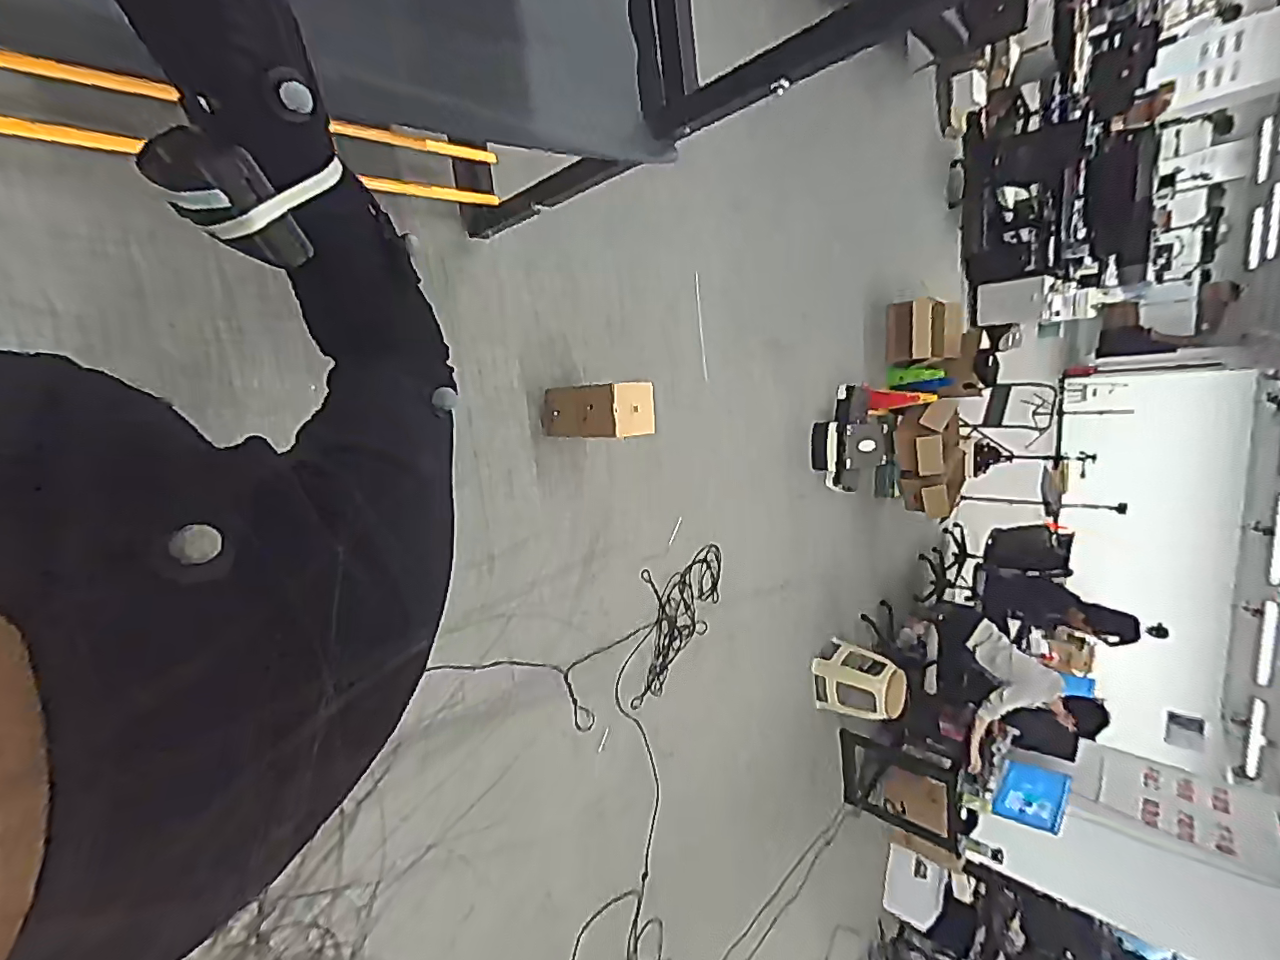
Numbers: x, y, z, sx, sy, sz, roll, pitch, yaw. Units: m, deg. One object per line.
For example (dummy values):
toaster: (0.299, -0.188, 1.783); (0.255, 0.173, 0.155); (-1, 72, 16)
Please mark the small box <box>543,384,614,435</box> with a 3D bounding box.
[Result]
small box: (-0.210, -0.241, 1.846); (0.179, 0.176, 0.168); (-10, 100, -45)
